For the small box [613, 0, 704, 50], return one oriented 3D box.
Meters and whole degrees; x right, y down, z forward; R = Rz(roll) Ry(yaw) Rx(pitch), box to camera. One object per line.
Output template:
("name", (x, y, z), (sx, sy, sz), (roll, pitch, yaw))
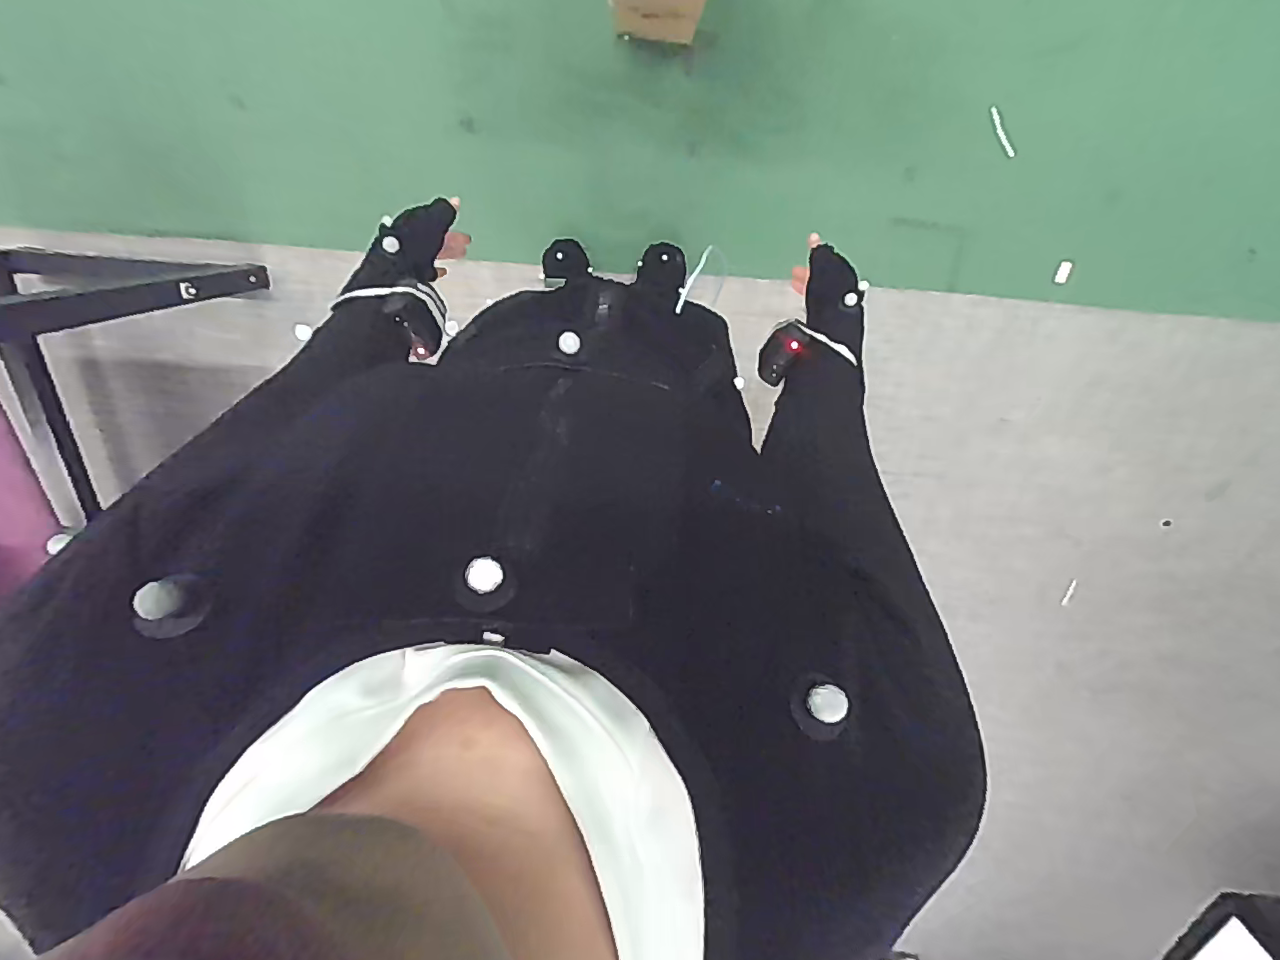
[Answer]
("small box", (0.042, -0.950, 1.025), (0.168, 0.176, 0.179), (6, 115, -3))
